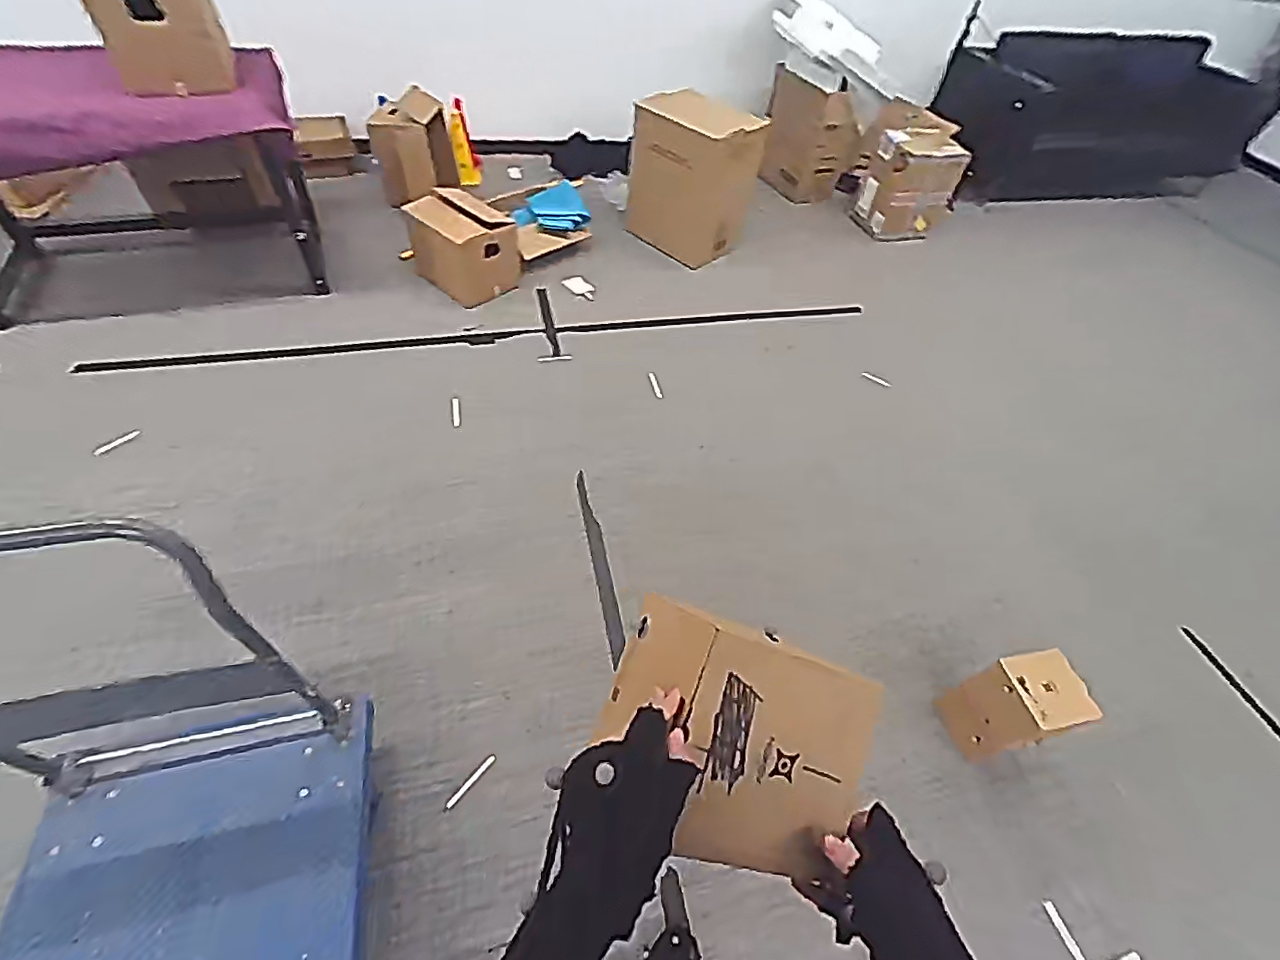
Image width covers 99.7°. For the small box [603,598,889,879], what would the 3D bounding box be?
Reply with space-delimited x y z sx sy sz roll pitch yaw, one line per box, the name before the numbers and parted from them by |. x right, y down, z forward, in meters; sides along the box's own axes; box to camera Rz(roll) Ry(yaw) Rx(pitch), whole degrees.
small box | 0.084 0.219 0.502 0.179 0.176 0.168 23 82 -17

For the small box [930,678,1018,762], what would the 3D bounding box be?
small box | 0.926 0.634 1.445 0.168 0.176 0.179 -10 52 -16

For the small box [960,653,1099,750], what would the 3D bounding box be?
small box | 0.932 0.538 1.311 0.179 0.176 0.168 -4 51 -12
